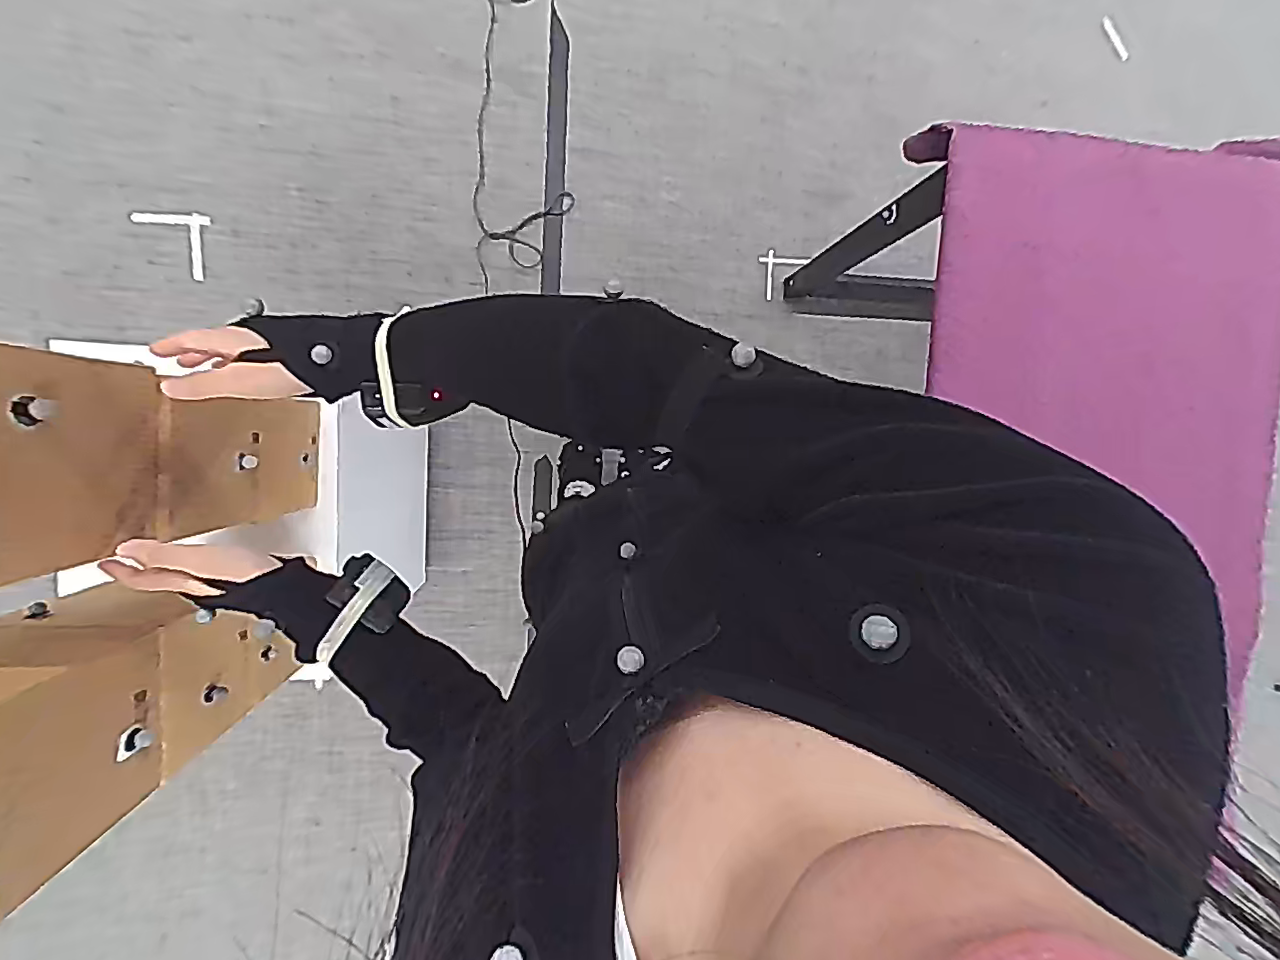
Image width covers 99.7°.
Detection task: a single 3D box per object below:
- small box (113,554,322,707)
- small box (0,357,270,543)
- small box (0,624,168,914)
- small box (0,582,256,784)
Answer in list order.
[{"bbox_3d":[-0.586,0.203,0.767,0.179,0.176,0.168,3,94,-6],"label":"small box"},{"bbox_3d":[-0.544,-0.032,0.586,0.179,0.176,0.168,4,95,-8],"label":"small box"},{"bbox_3d":[-0.546,0.226,0.445,0.179,0.176,0.168,1,95,-8],"label":"small box"},{"bbox_3d":[-0.564,0.215,0.606,0.179,0.176,0.168,1,94,-7],"label":"small box"}]
